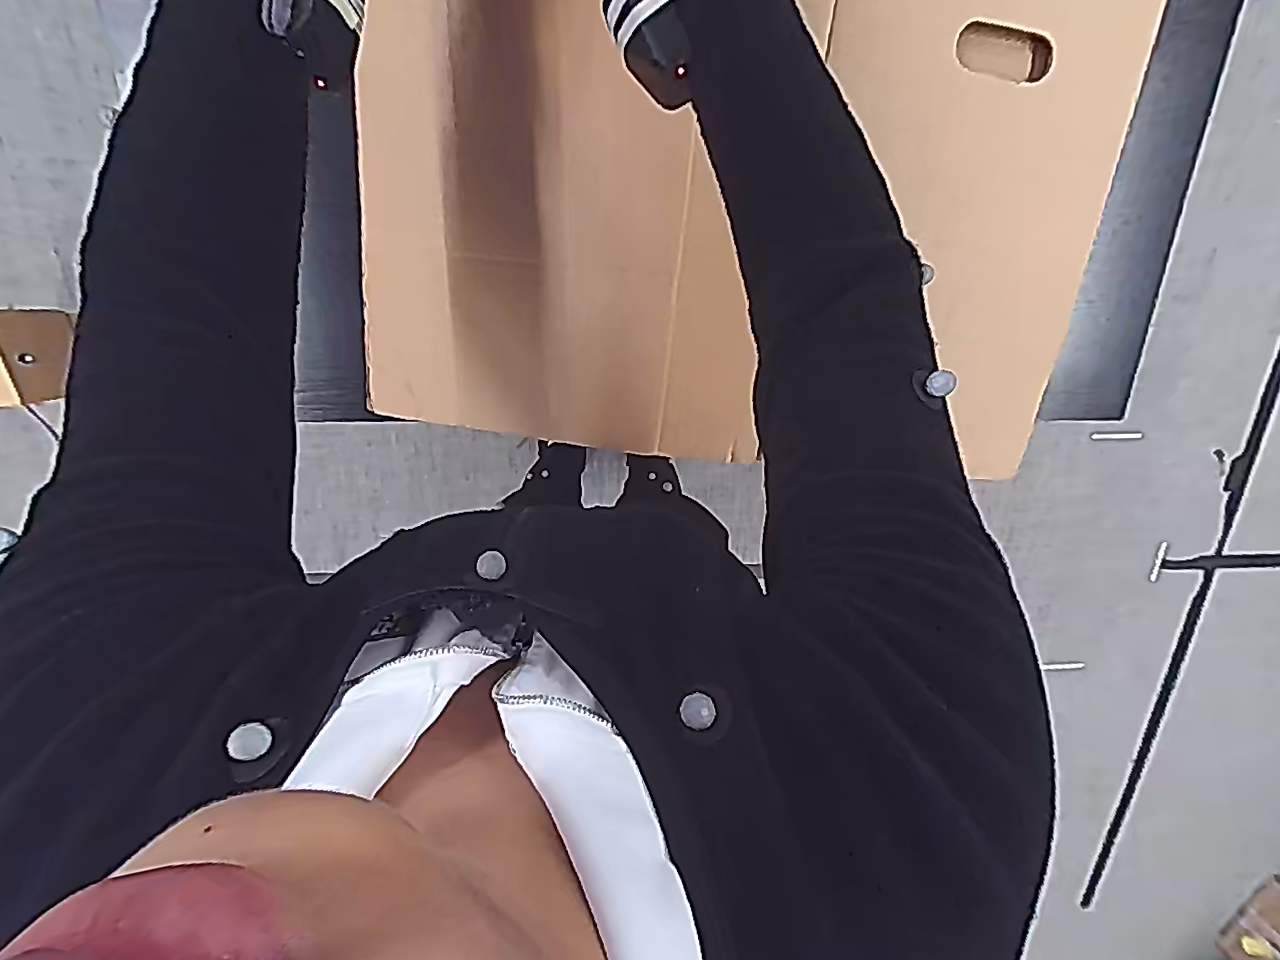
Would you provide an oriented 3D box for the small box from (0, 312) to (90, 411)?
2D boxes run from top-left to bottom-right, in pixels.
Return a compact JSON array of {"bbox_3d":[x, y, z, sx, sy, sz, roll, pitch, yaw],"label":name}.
[{"bbox_3d":[-1.244,-0.228,1.048,0.168,0.176,0.179,-8,107,-3],"label":"small box"}]

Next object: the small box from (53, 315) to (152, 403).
[{"bbox_3d":[-1.256,-0.272,1.204,0.168,0.176,0.179,-5,109,-4],"label":"small box"}]
